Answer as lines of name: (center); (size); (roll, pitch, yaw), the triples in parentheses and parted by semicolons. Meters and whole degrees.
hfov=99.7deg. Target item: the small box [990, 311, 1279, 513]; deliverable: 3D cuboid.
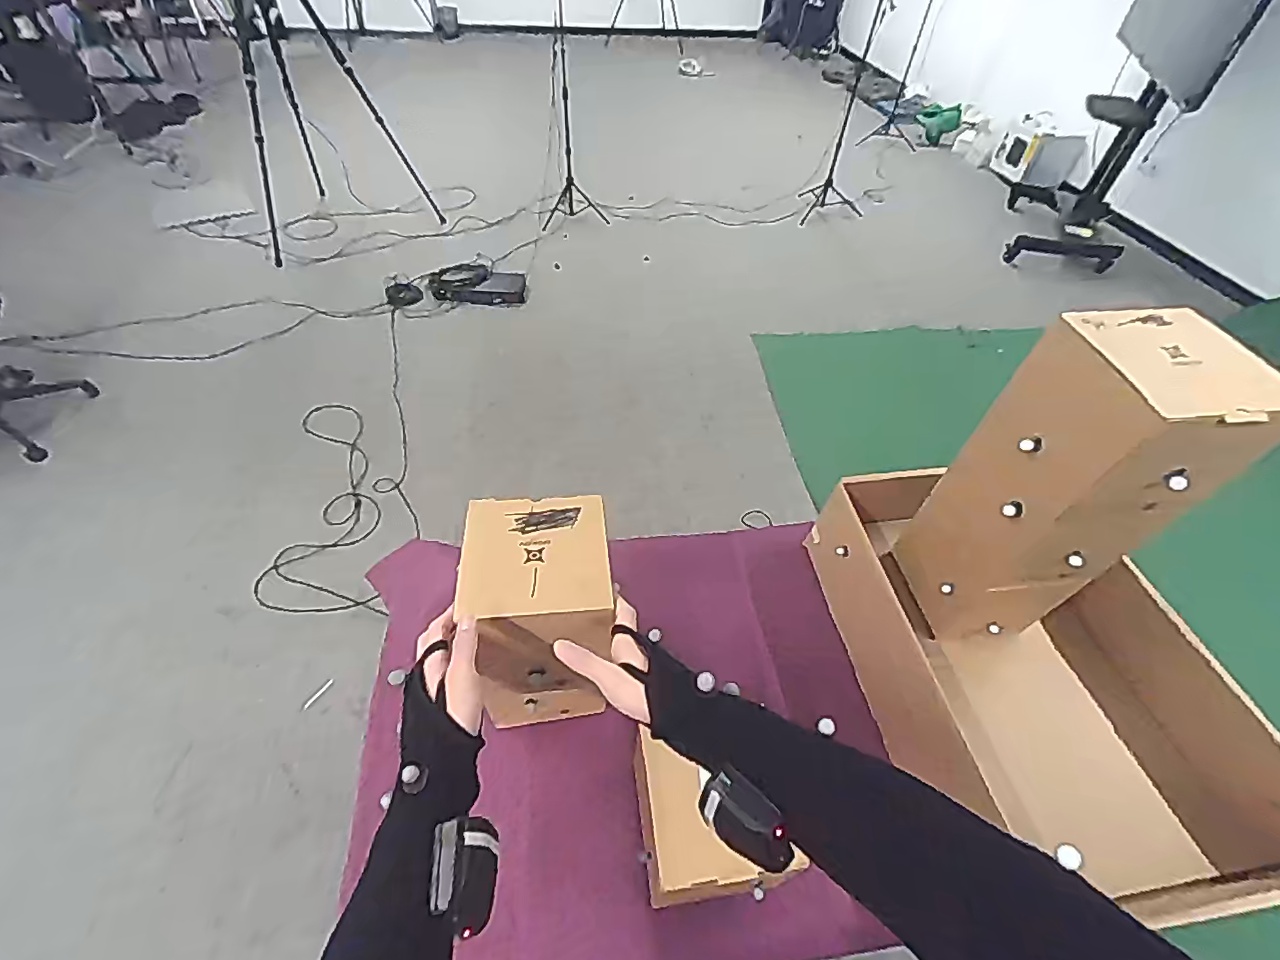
small box: (0.558, -0.072, 0.625); (0.168, 0.176, 0.179); (-3, 51, -4)

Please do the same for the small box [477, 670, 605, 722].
small box: (-0.143, 0.248, 0.815); (0.168, 0.176, 0.179); (-6, 48, -8)

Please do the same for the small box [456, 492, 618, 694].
small box: (-0.118, 0.136, 0.663); (0.168, 0.176, 0.179); (-3, 43, -7)

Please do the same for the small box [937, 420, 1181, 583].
small box: (0.556, 0.032, 0.751); (0.168, 0.176, 0.179); (-3, 50, -5)

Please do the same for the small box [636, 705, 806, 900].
small box: (0.087, 0.410, 0.682); (0.168, 0.176, 0.179); (-3, 47, -7)
